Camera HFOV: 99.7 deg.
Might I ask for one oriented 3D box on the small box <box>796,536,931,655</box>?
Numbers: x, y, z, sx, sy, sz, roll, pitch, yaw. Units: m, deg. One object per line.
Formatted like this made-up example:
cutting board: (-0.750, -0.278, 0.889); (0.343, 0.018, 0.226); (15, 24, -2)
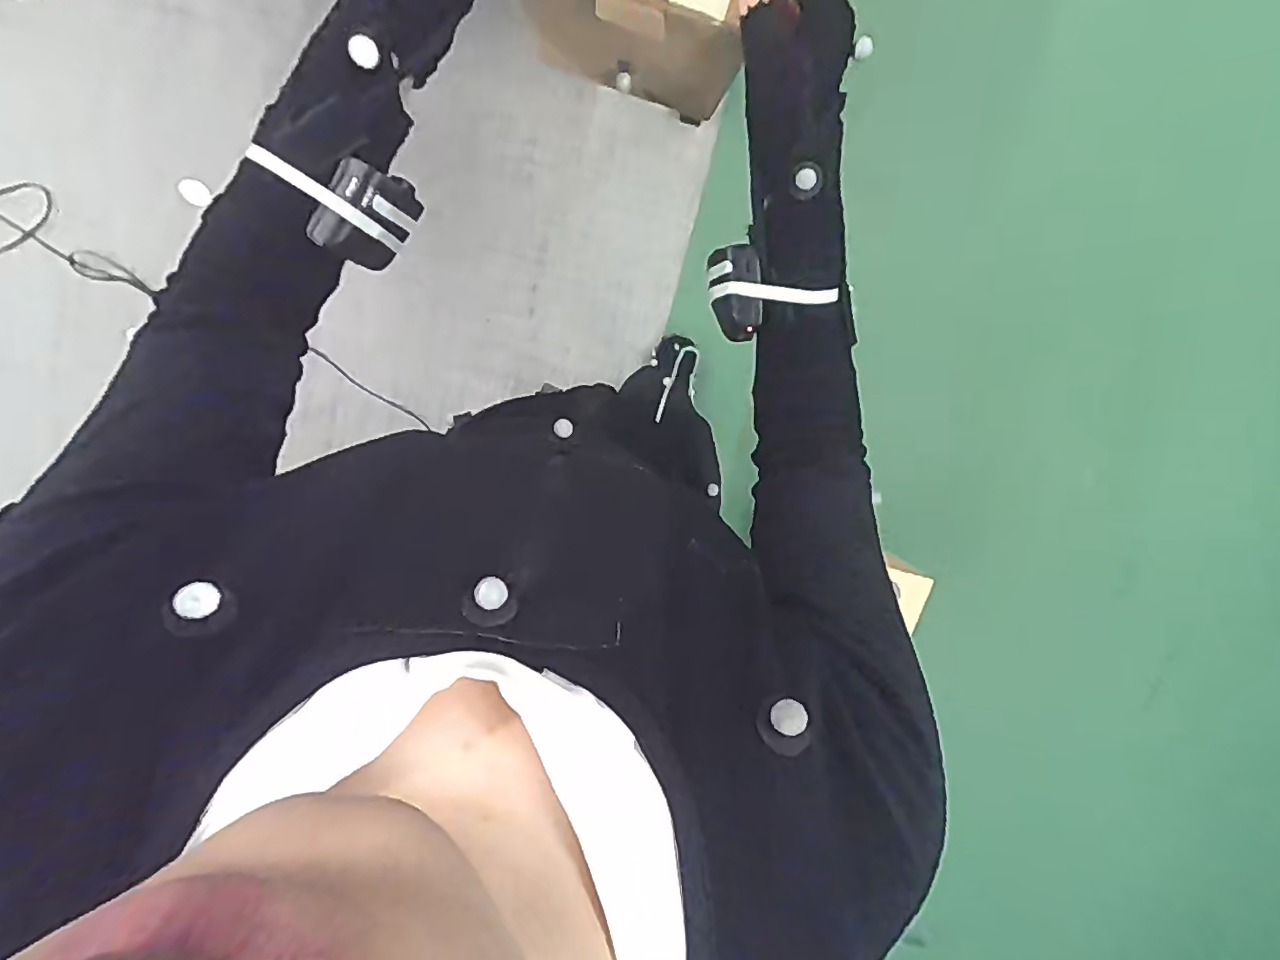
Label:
small box: (0.445, 0.228, 1.111); (0.179, 0.176, 0.168); (17, 100, -5)

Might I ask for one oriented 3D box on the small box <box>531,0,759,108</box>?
small box: (0.012, -0.416, 0.392); (0.168, 0.176, 0.179); (14, 106, -7)
